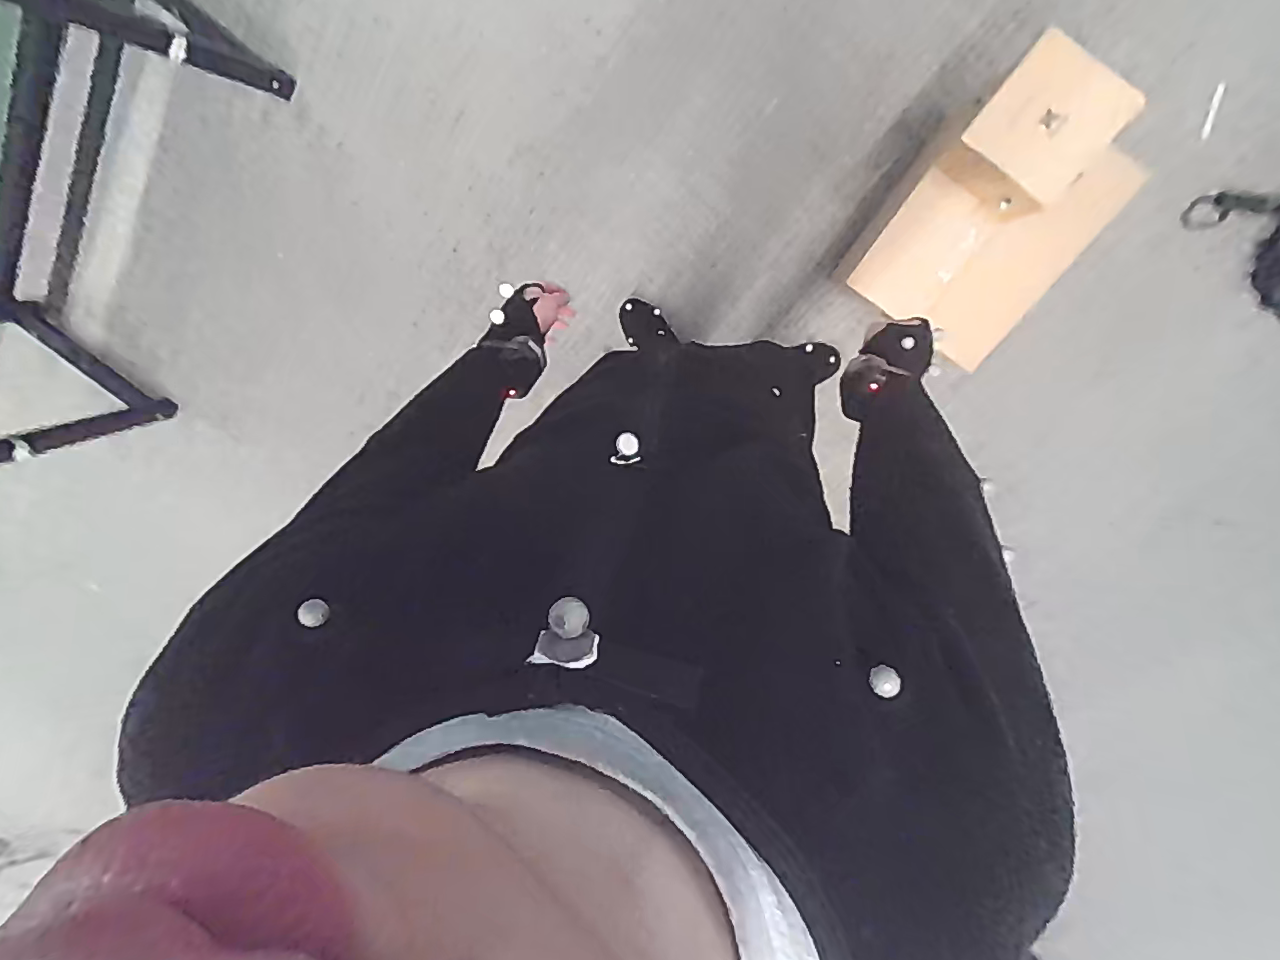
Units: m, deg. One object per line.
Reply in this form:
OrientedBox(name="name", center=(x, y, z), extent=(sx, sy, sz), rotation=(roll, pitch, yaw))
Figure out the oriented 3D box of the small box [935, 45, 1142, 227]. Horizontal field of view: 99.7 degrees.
OrientedBox(name="small box", center=(0.617, -0.530, 0.867), extent=(0.179, 0.176, 0.168), rotation=(38, 112, 1))
